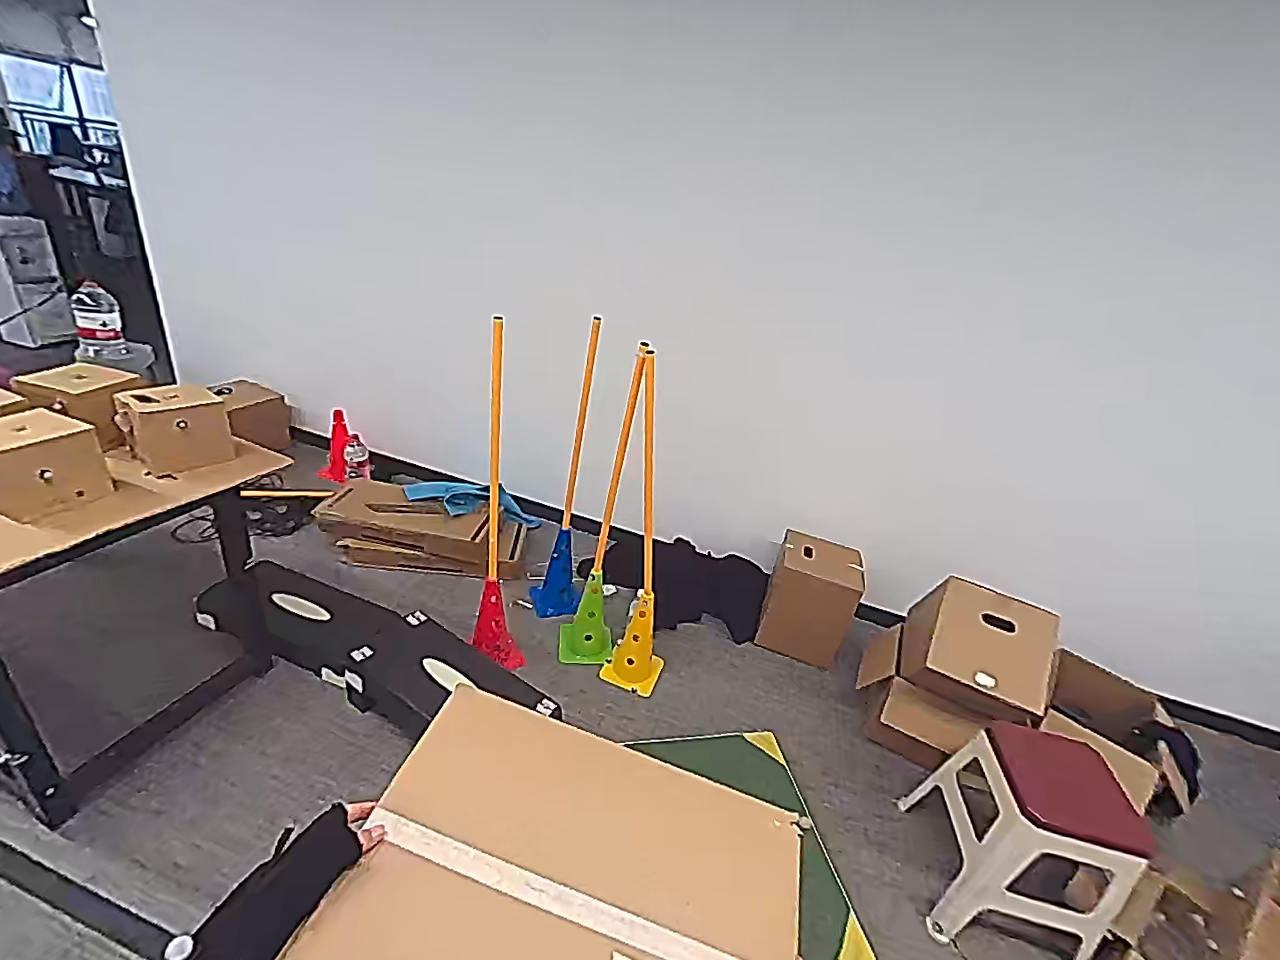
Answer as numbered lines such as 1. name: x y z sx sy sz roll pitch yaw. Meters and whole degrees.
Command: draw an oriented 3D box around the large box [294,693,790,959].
1. large box: -0.093 0.503 0.570 0.408 0.320 0.320 20 34 5
